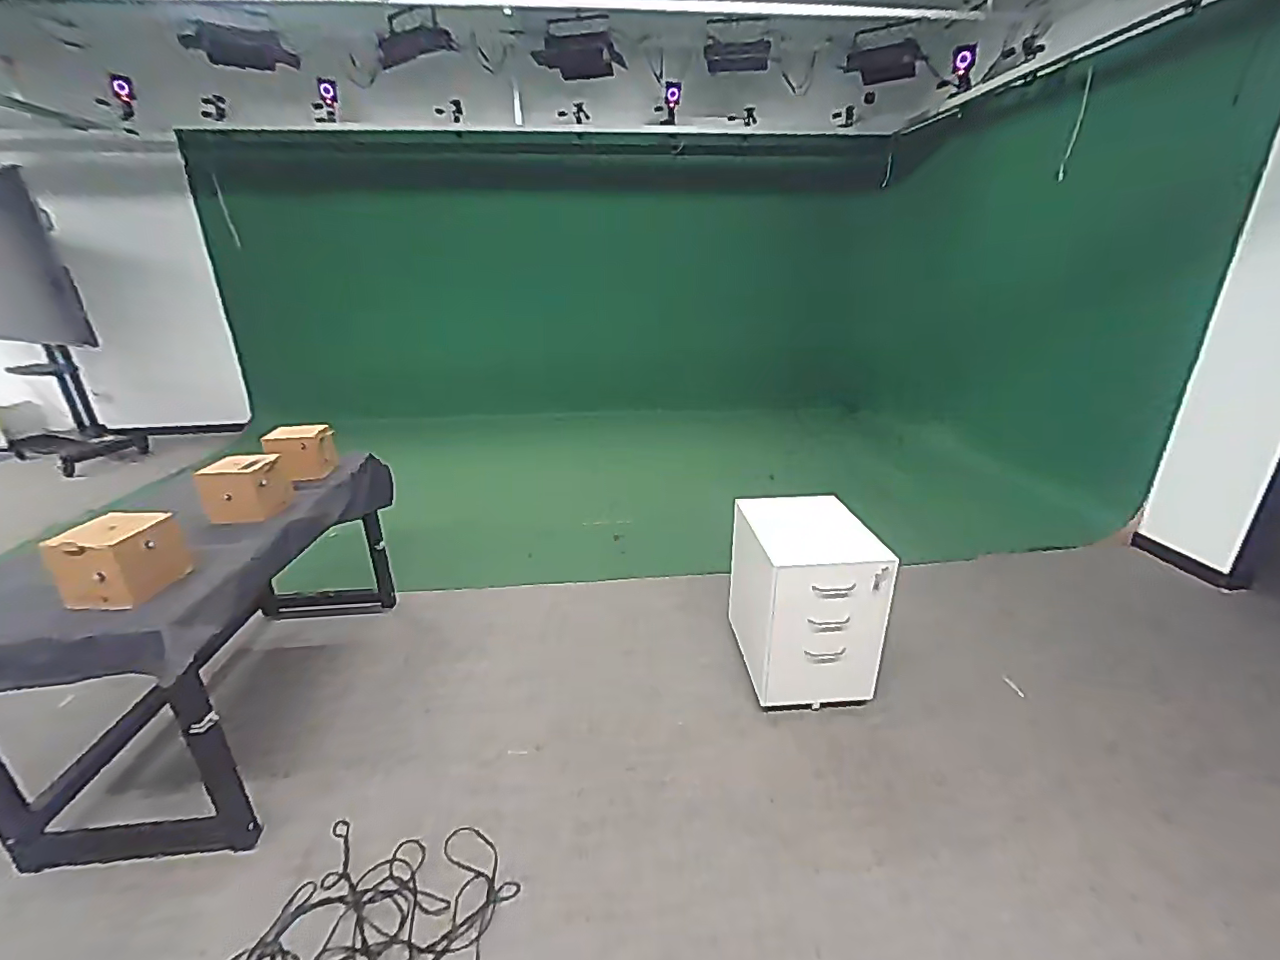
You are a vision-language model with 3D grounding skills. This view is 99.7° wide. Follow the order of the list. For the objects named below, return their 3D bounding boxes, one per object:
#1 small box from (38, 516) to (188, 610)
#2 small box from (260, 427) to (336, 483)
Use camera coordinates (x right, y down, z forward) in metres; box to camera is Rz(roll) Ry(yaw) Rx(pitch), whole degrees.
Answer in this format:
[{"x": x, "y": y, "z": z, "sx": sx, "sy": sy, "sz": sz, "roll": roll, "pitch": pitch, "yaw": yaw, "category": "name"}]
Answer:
[{"x": -1.234, "y": 0.196, "z": 1.285, "sx": 0.168, "sy": 0.176, "sz": 0.179, "roll": 1, "pitch": 20, "yaw": 1, "category": "small box"}, {"x": -1.278, "y": -0.094, "z": 2.033, "sx": 0.179, "sy": 0.176, "sz": 0.168, "roll": -4, "pitch": 22, "yaw": -9, "category": "small box"}]
